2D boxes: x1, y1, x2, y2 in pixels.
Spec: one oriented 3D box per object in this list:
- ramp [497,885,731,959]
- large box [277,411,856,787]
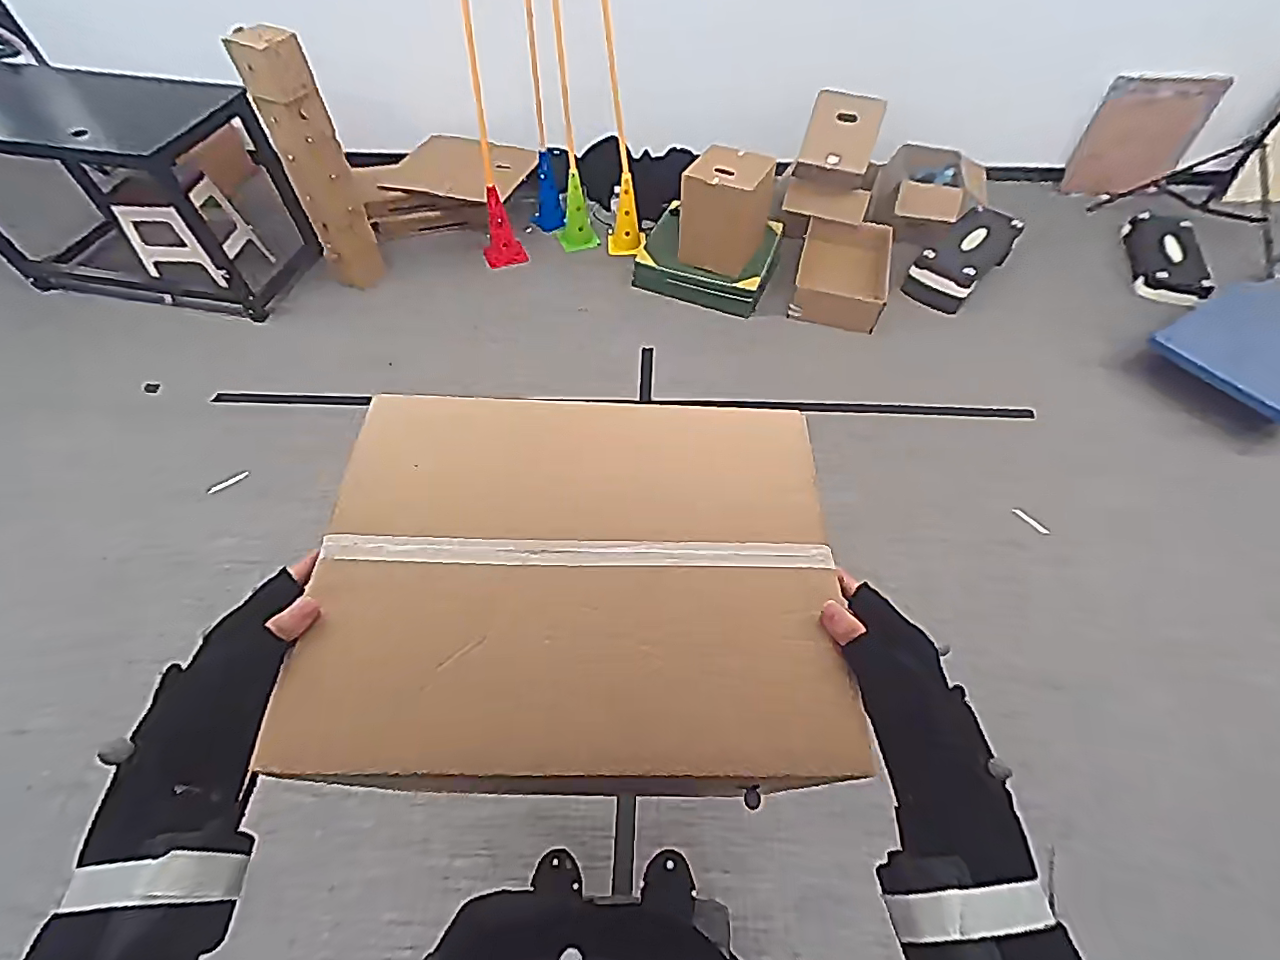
[{"bbox_3d":[-0.064,1.342,0.970,0.509,0.206,0.991,1,56,-1],"label":"ramp"},{"bbox_3d":[-0.052,0.145,0.572,0.408,0.320,0.320,2,58,-2],"label":"large box"}]
